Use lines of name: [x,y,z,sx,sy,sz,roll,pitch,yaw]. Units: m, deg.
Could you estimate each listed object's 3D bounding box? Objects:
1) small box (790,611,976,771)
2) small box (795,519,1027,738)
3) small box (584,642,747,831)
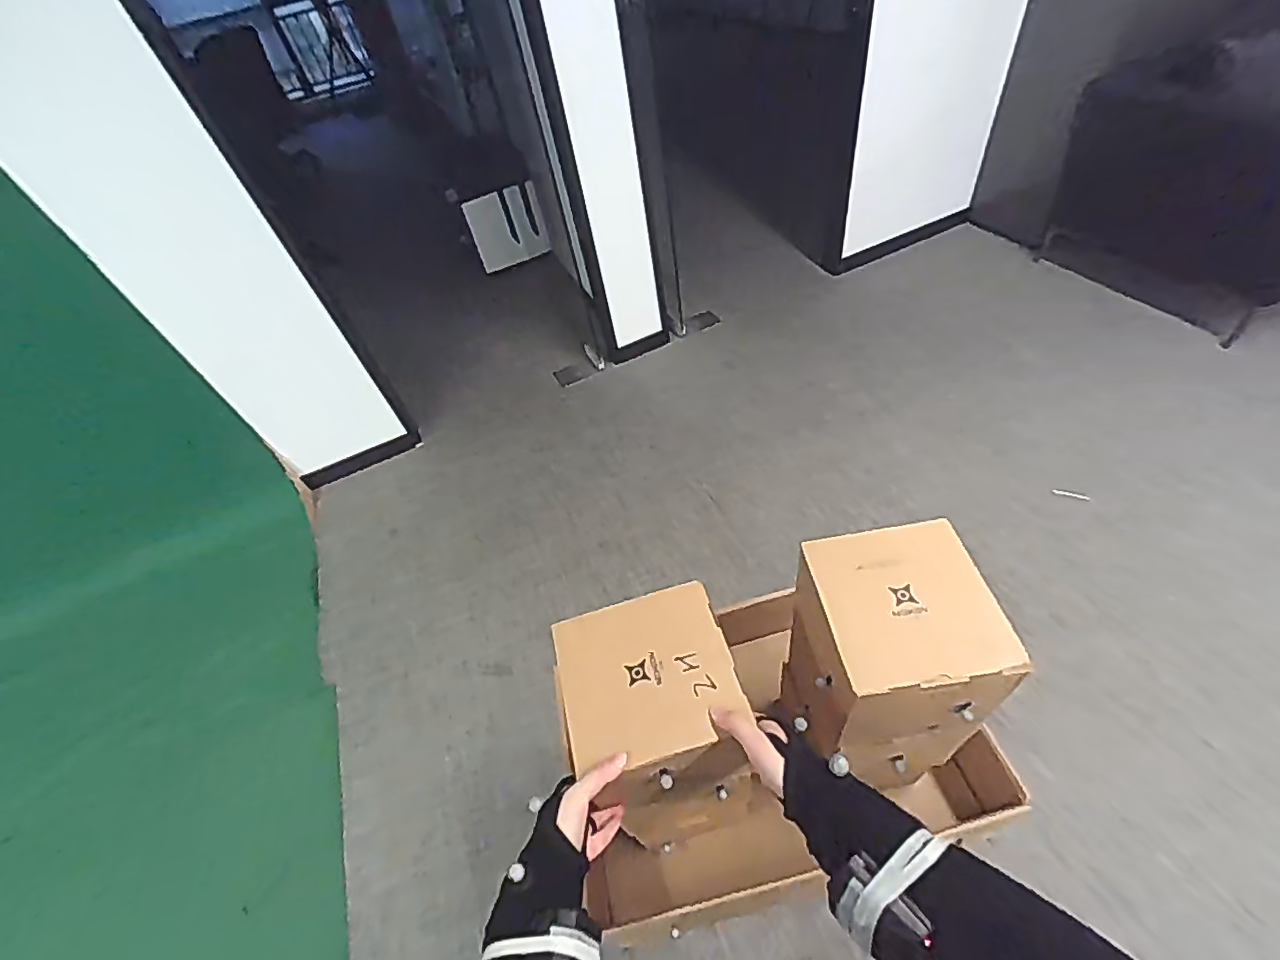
small box: [0.308,0.277,0.729,0.168,0.176,0.179,-11,49,3]
small box: [0.279,0.173,0.606,0.168,0.176,0.179,-10,47,4]
small box: [0.038,0.351,0.734,0.179,0.176,0.168,-16,49,-3]
